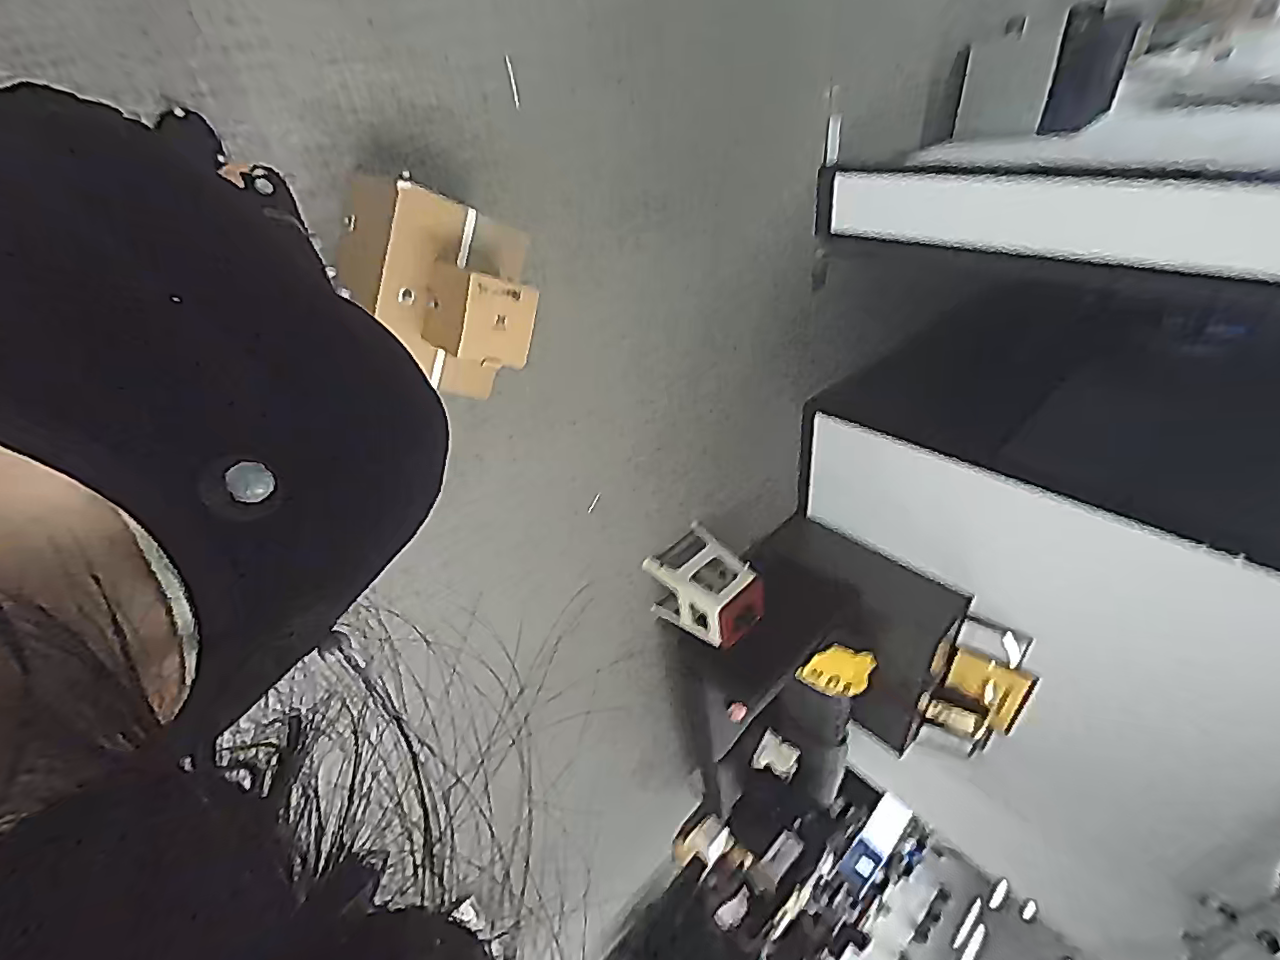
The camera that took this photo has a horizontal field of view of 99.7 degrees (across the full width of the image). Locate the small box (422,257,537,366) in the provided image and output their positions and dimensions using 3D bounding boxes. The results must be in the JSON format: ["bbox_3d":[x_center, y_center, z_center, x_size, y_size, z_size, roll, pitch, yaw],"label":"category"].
[{"bbox_3d":[-0.354,-0.365,1.176,0.168,0.176,0.179,-3,116,-48],"label":"small box"}]
